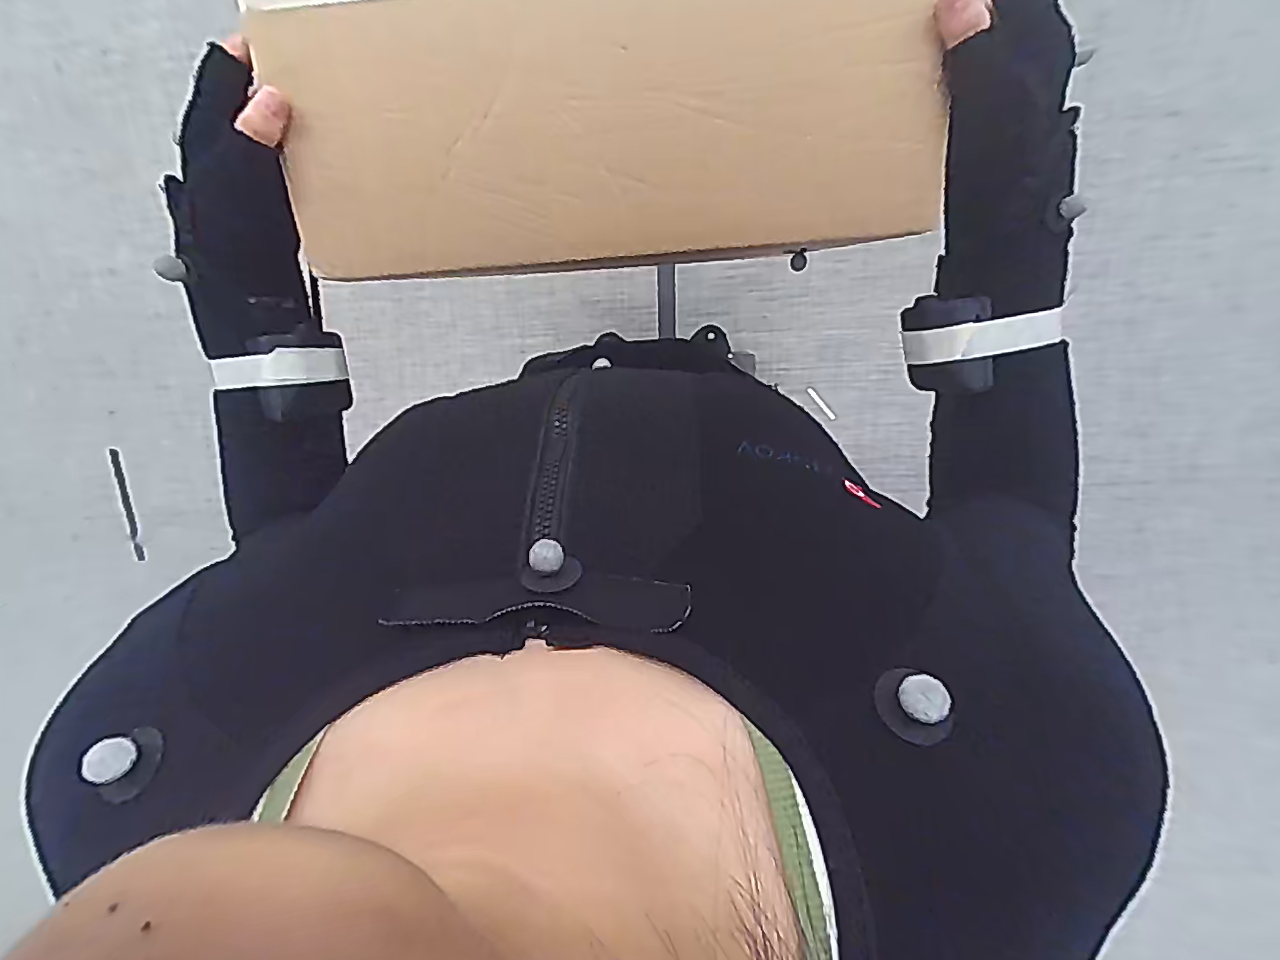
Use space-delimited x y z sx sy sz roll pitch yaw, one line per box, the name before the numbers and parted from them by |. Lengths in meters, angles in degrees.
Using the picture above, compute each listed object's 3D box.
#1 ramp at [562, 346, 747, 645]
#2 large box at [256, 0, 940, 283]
ramp | 0.064 0.109 1.624 0.509 0.206 0.991 -3 105 3
large box | -0.023 -0.346 0.446 0.408 0.320 0.320 -3 110 3
